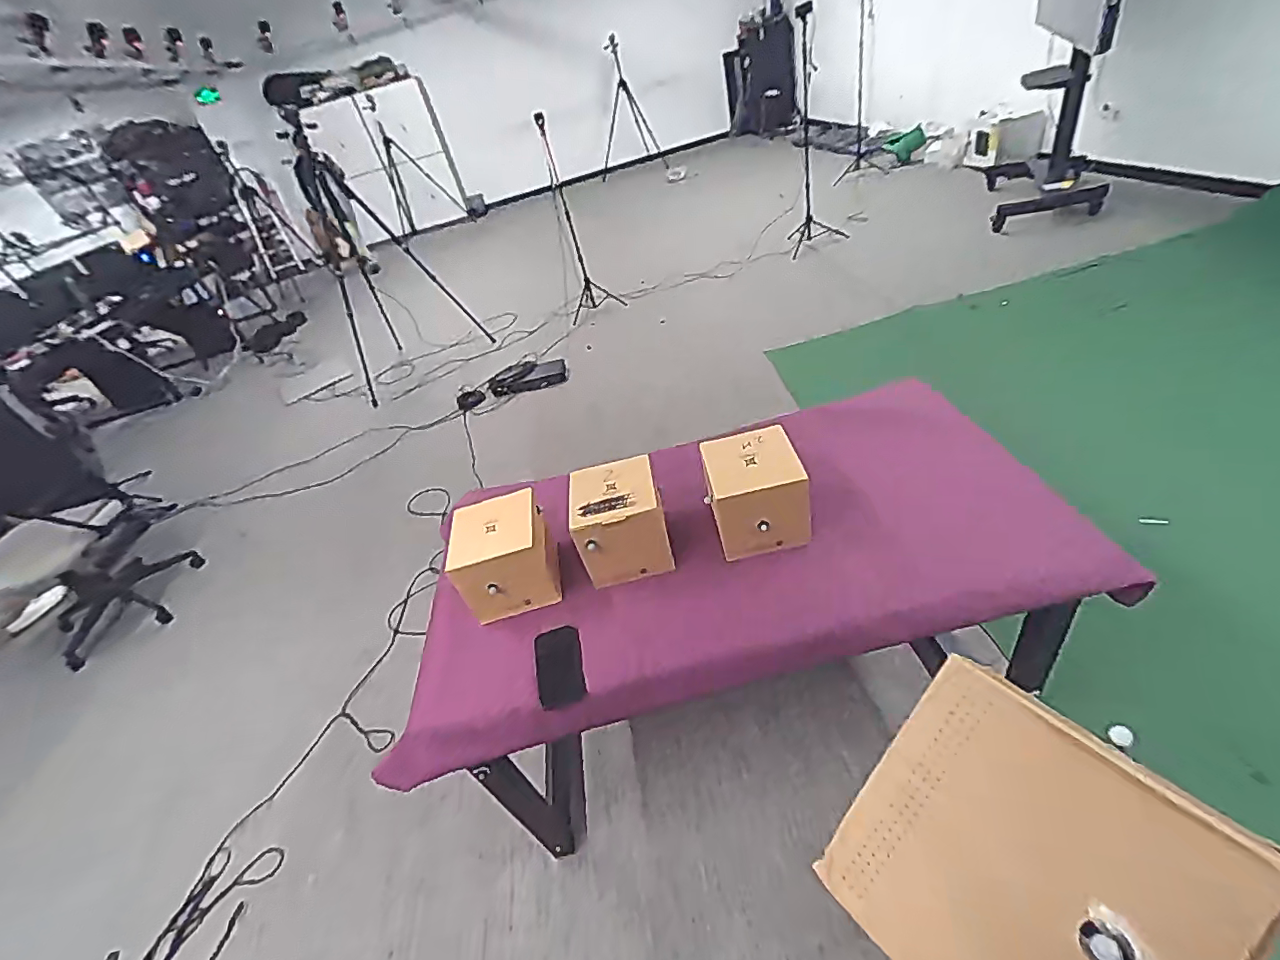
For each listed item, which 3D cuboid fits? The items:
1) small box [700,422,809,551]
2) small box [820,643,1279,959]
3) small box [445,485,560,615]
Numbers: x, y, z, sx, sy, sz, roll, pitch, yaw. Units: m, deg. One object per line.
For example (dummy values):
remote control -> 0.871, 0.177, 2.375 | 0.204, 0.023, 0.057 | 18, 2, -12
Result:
small box -> 0.221, 0.019, 1.043 | 0.168, 0.176, 0.179 | -12, 38, 5
small box -> 0.253, 0.232, 0.353 | 0.176, 0.168, 0.179 | 34, 93, 45
small box -> -0.263, 0.145, 1.069 | 0.168, 0.176, 0.179 | -17, 37, 0
